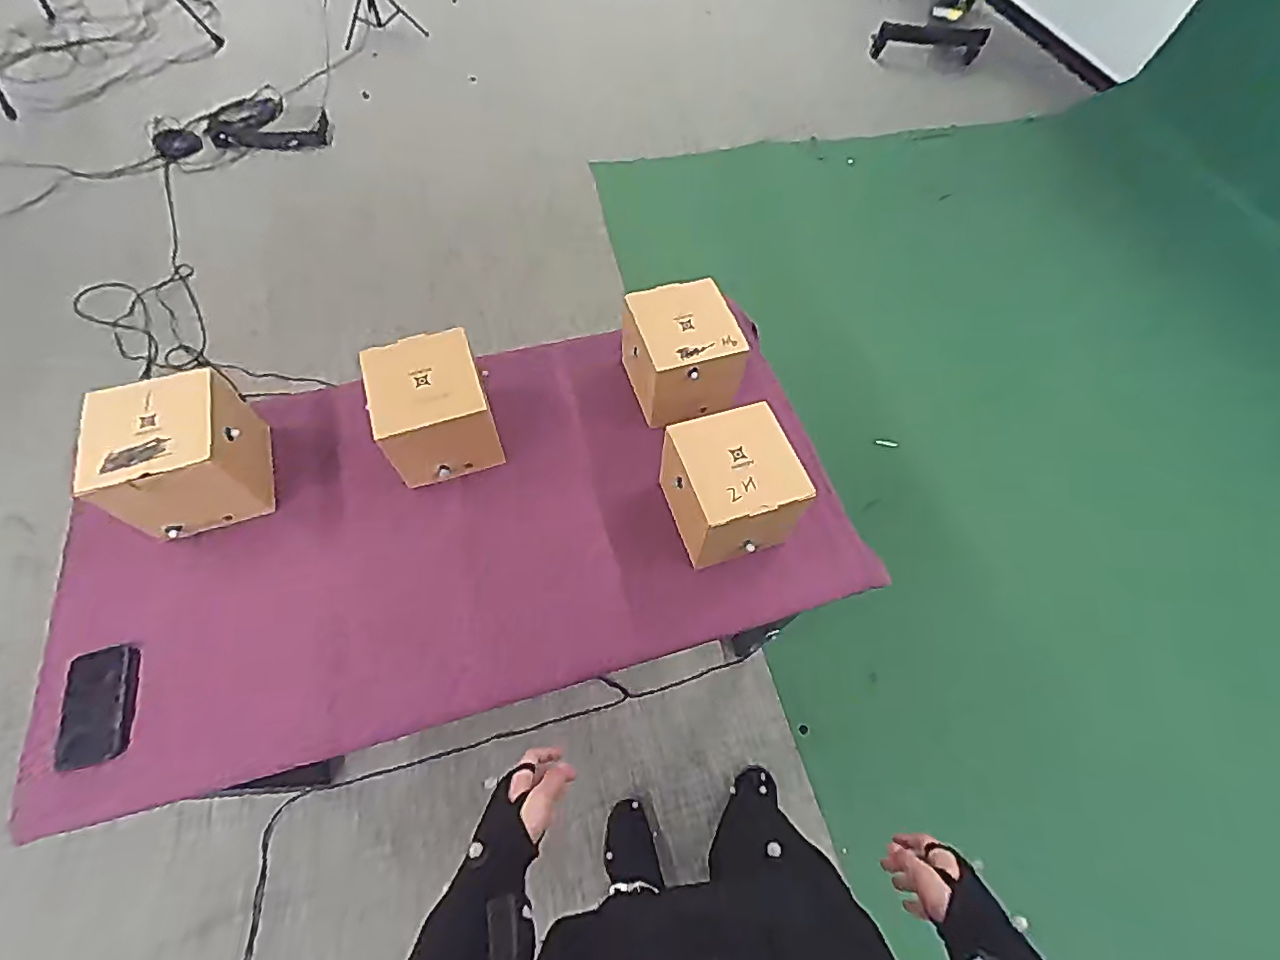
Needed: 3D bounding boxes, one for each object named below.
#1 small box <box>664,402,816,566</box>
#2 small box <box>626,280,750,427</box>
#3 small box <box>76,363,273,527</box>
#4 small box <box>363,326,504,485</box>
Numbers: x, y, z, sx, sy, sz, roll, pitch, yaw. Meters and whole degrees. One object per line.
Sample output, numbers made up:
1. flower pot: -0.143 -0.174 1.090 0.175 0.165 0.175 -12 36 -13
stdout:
1. small box: 0.141 0.010 0.846 0.168 0.176 0.179 -15 62 -10
2. small box: 0.075 -0.224 0.974 0.168 0.176 0.179 -15 63 -10
3. small box: -0.691 -0.044 0.827 0.168 0.176 0.179 -16 63 -12
4. small box: -0.334 -0.118 0.892 0.168 0.176 0.179 -16 64 -11
